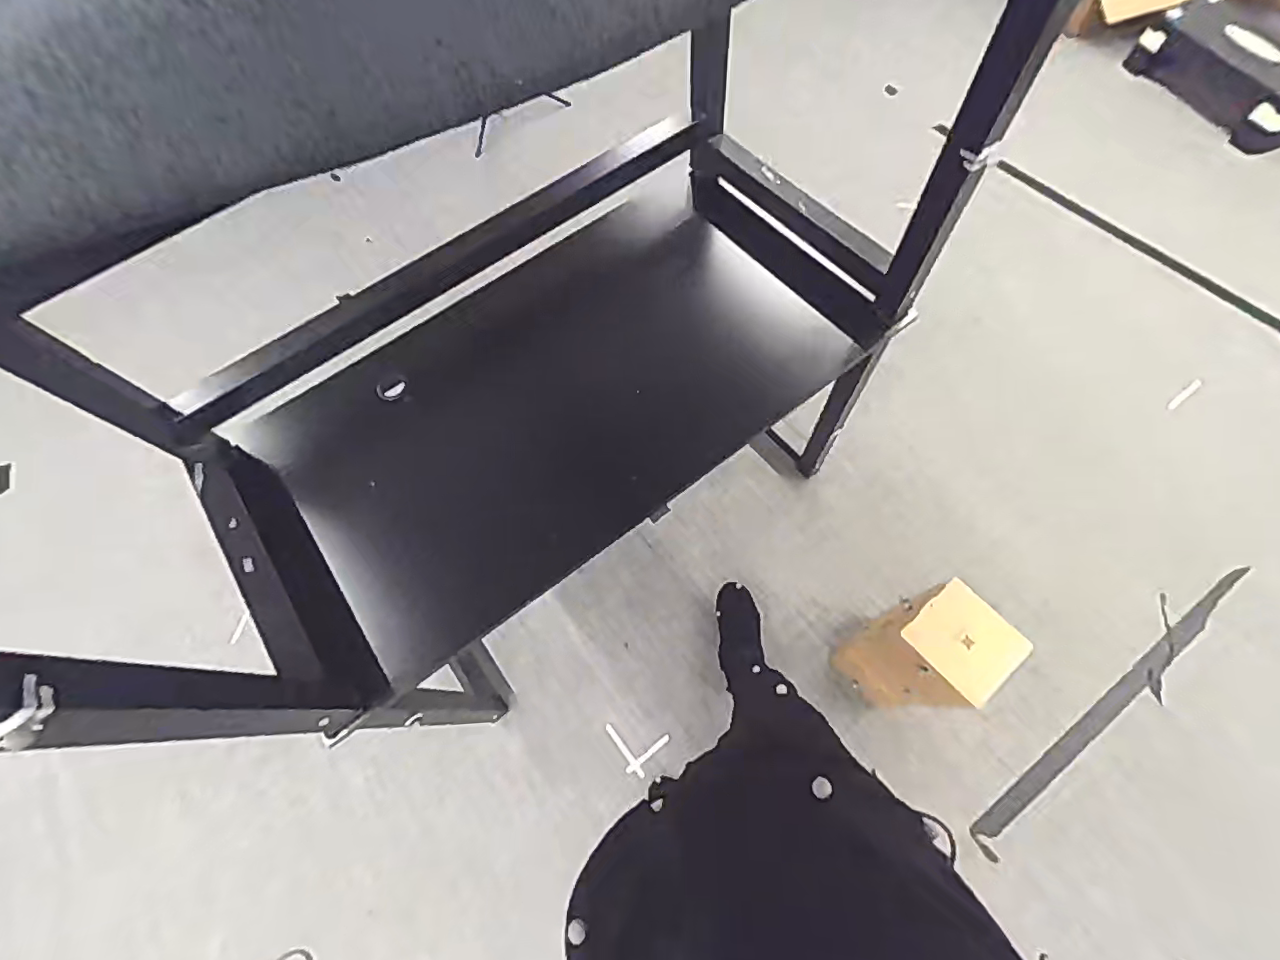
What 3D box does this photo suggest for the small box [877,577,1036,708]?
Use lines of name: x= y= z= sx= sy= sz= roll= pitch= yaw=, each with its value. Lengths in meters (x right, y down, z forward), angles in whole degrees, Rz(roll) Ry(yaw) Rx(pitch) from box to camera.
small box: x=0.606 y=0.320 z=1.060 sx=0.168 sy=0.176 sz=0.179 roll=-40 pitch=69 yaw=-12

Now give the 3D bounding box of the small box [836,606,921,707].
small box: x=0.625 y=0.447 z=1.361 sx=0.179 sy=0.176 sz=0.168 roll=-39 pitch=69 yaw=-11
